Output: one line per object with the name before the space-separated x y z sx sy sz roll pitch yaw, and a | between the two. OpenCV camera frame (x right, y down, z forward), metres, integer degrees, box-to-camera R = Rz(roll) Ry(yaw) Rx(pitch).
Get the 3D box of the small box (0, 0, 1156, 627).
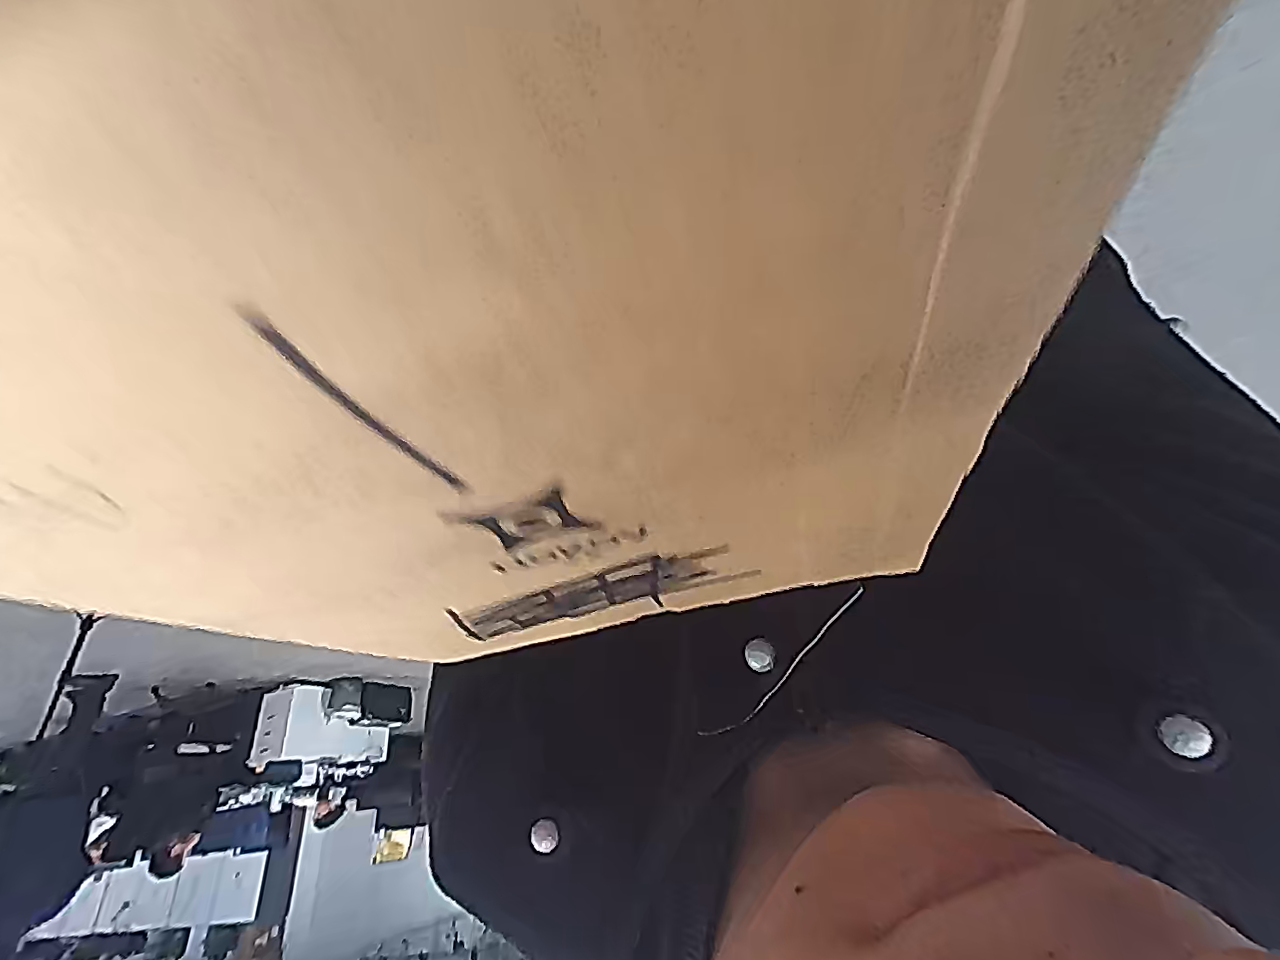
small box | -0.032 -0.071 0.146 0.168 0.176 0.179 -15 153 10
